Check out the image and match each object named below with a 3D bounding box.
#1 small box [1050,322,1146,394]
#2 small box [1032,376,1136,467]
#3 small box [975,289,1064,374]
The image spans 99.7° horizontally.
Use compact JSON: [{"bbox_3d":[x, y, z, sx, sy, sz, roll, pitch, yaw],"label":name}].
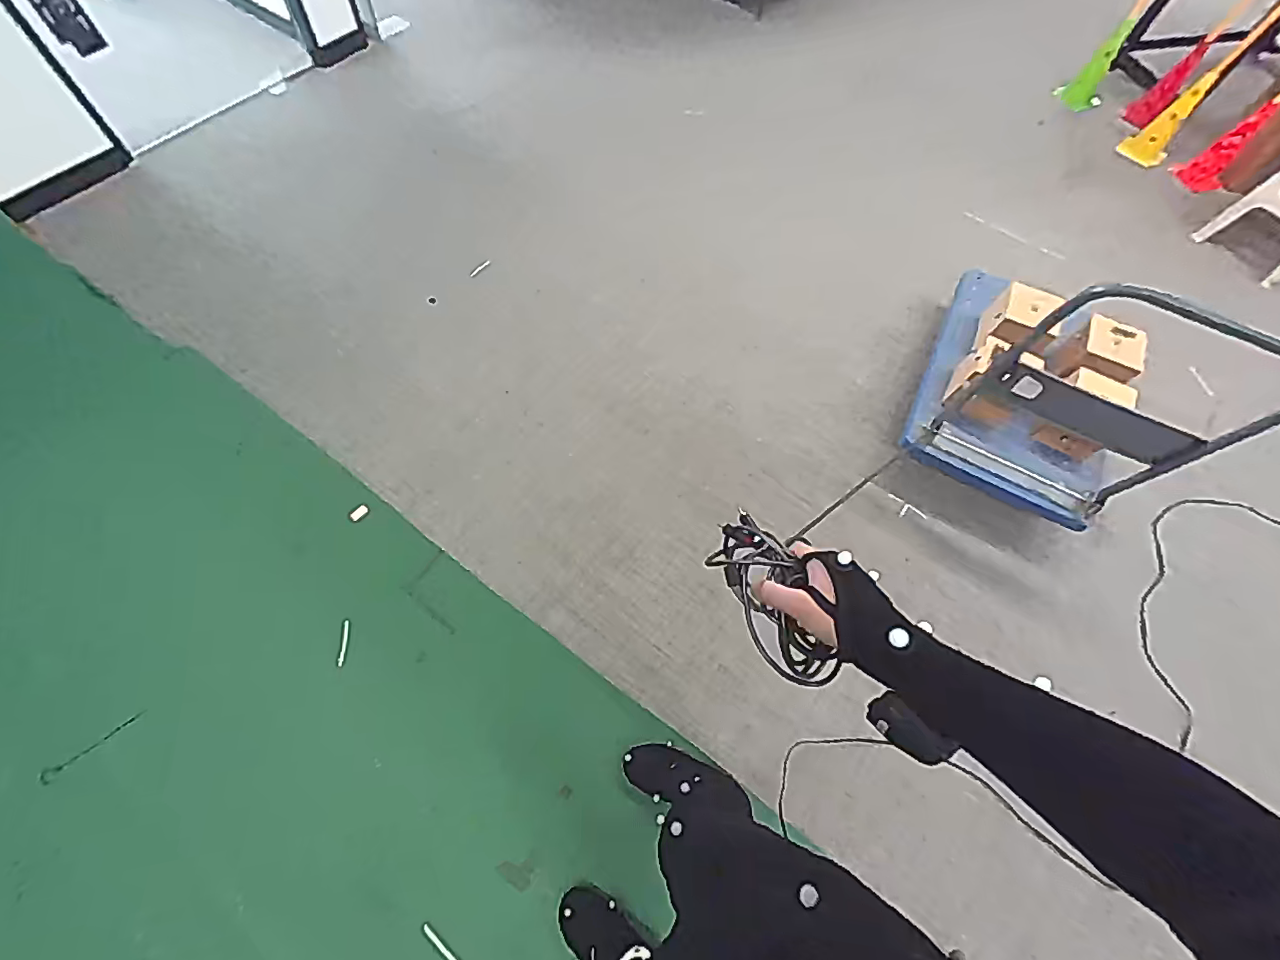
[{"bbox_3d":[1.452,-0.361,1.722,0.168,0.176,0.179,26,66,9],"label":"small box"},{"bbox_3d":[1.325,-0.172,1.622,0.168,0.176,0.179,29,66,10],"label":"small box"},{"bbox_3d":[1.230,-0.478,1.763,0.168,0.176,0.179,25,65,7],"label":"small box"}]
